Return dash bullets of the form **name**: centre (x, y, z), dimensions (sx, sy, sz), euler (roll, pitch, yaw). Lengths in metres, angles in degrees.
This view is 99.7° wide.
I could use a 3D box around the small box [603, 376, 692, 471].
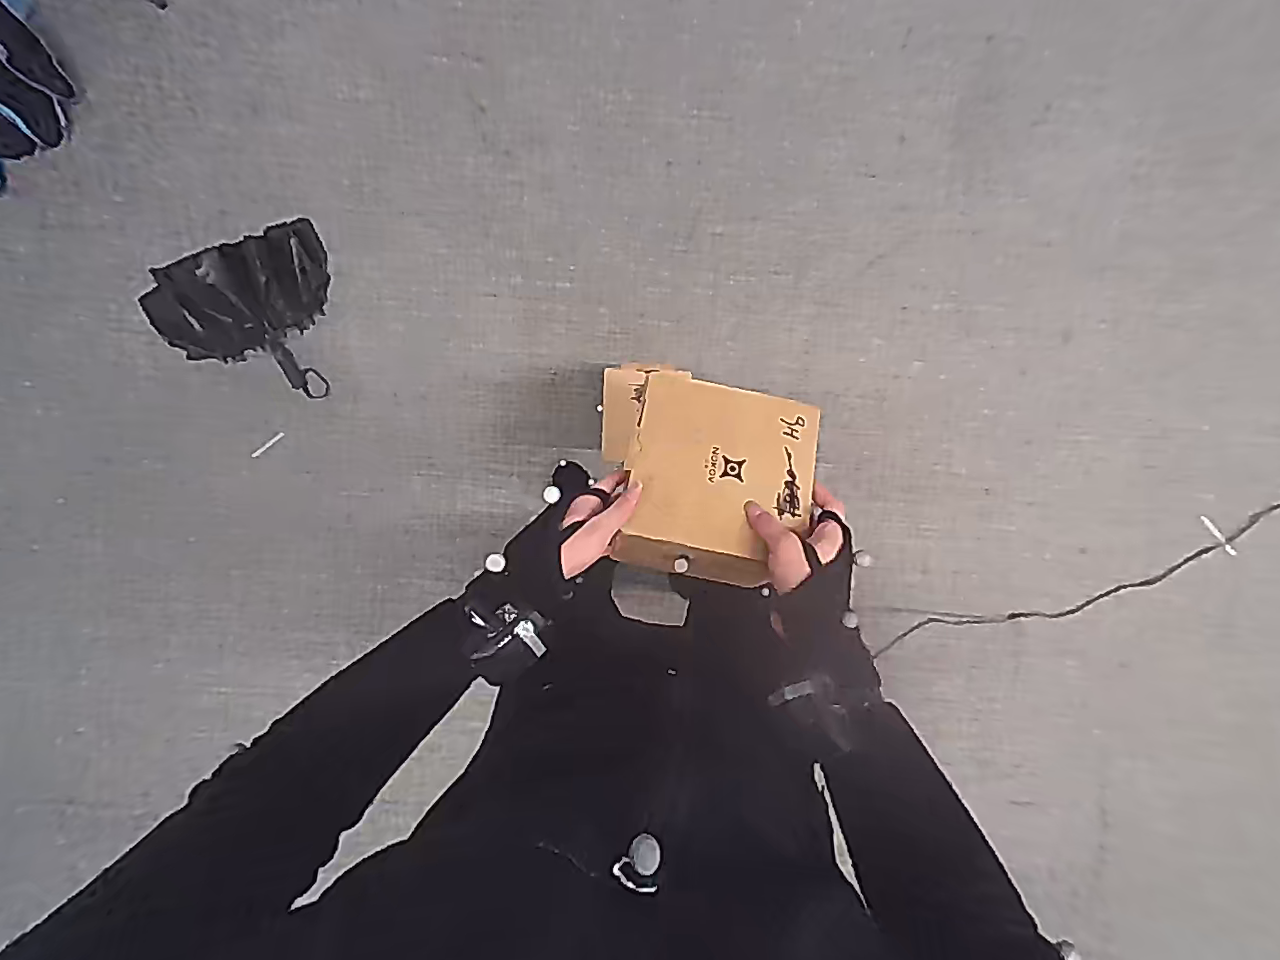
- **small box**: centre (0.012, -0.113, 1.099), dimensions (0.168, 0.176, 0.179), euler (2, 96, 0)
